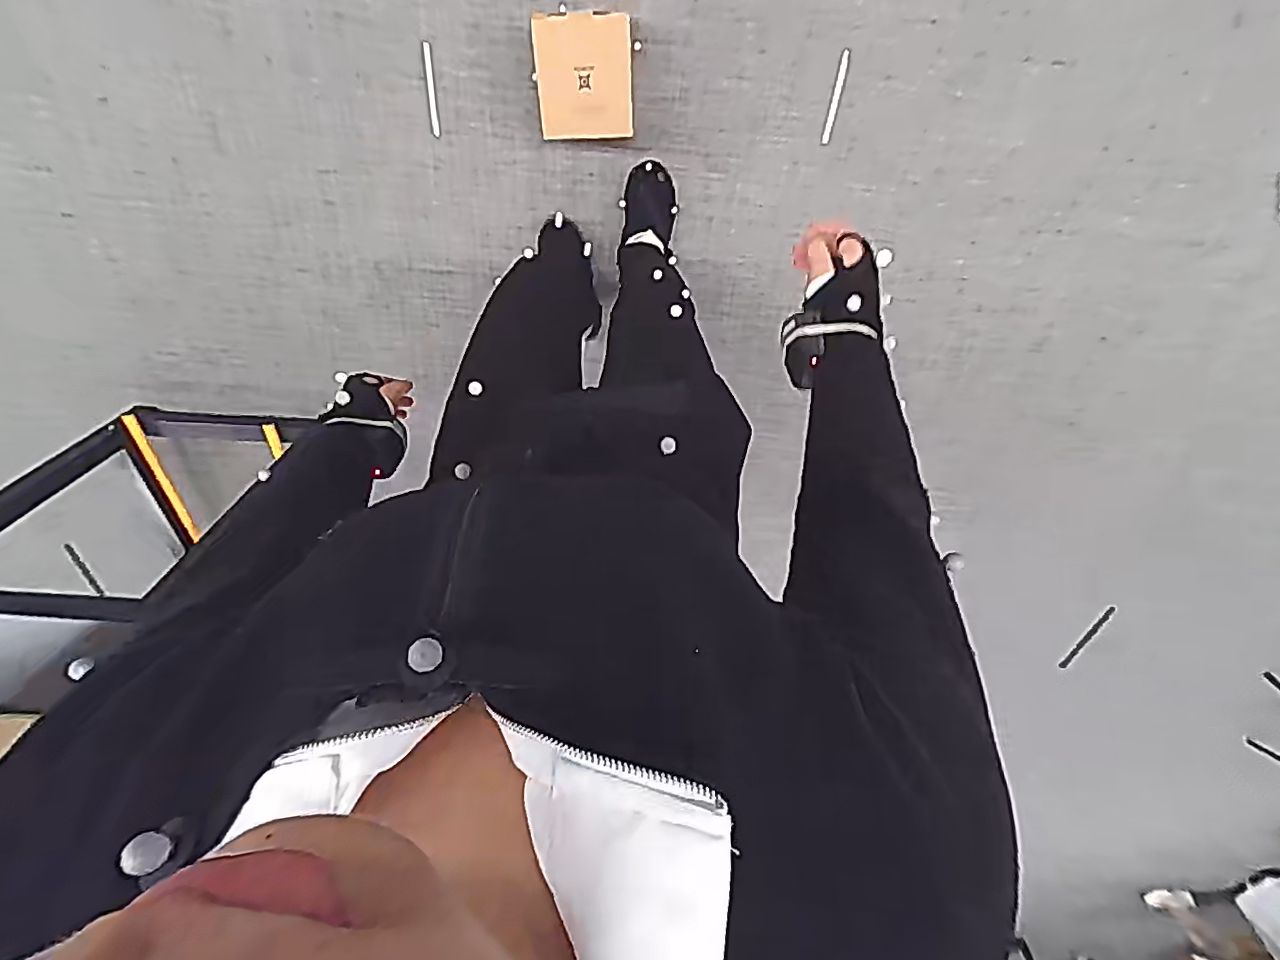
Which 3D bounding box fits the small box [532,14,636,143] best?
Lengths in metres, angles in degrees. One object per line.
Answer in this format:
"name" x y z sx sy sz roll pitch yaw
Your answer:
"small box" -0.093 -0.731 0.992 0.168 0.176 0.179 0 128 3
